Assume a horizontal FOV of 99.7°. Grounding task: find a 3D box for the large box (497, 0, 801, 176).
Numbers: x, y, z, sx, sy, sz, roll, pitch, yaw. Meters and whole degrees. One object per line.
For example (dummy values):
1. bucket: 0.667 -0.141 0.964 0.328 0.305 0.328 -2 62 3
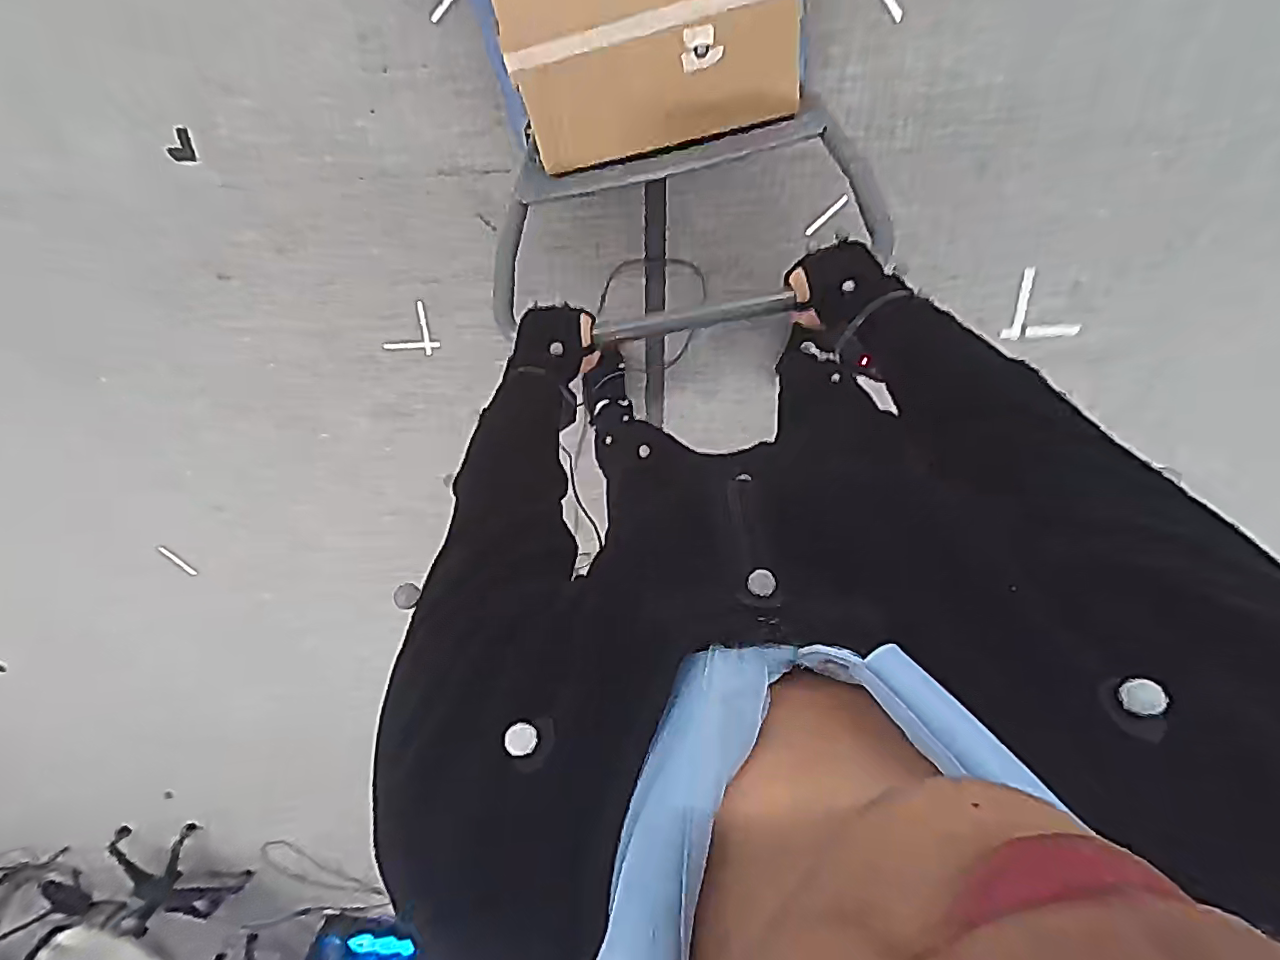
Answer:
1. large box: 0.012 -0.746 0.858 0.408 0.320 0.320 -11 136 9
